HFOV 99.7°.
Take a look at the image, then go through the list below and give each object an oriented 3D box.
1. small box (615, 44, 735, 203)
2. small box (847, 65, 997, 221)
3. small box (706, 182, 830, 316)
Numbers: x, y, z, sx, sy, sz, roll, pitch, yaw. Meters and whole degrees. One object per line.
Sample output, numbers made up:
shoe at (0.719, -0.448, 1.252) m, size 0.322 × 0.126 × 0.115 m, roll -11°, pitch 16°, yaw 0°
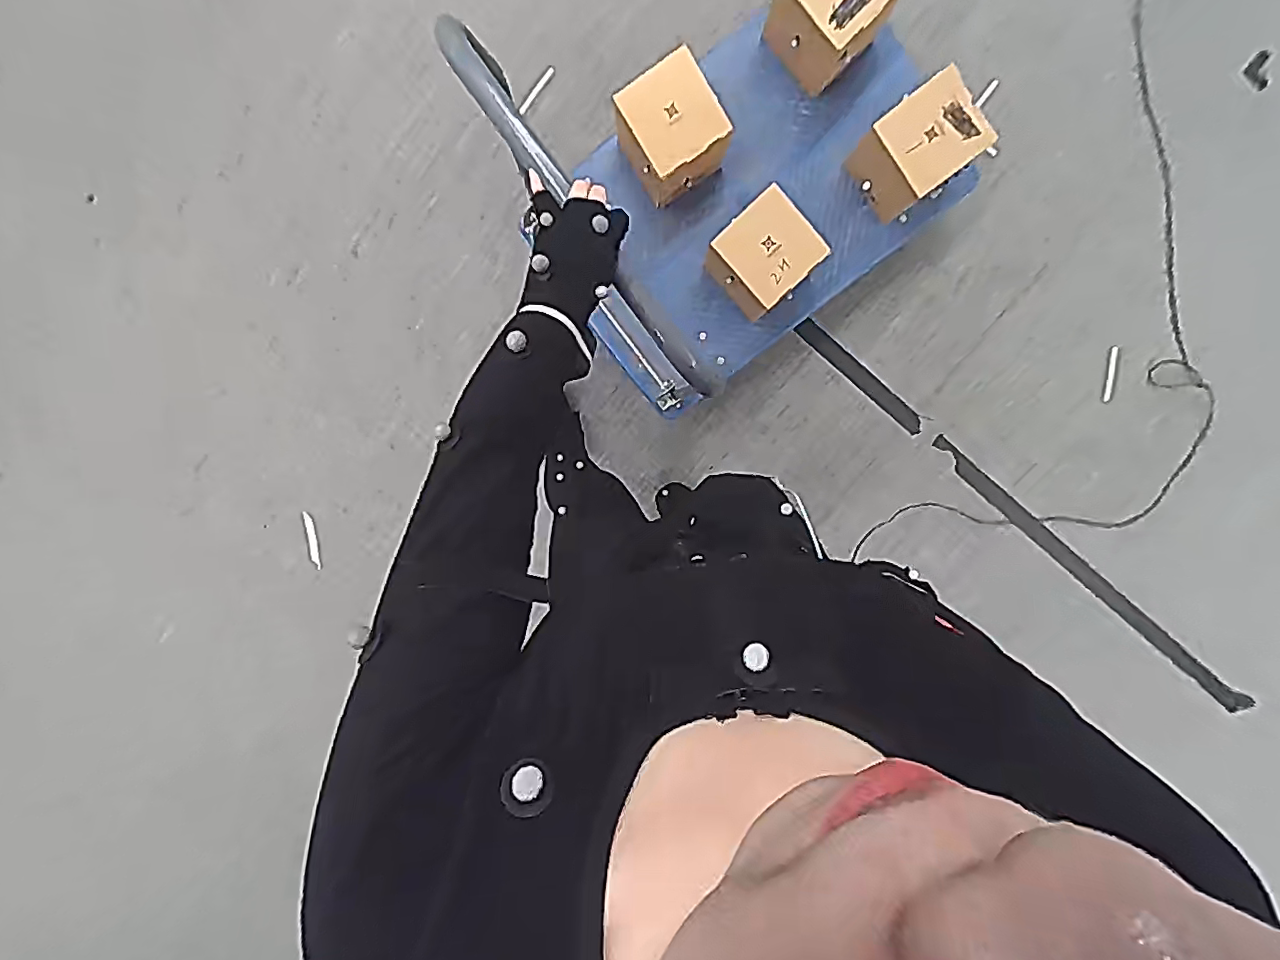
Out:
small box at (0.067, -0.704, 1.092) m, size 0.168 × 0.176 × 0.179 m, roll -33°, pitch 96°, yaw 7°
small box at (0.554, -0.663, 1.088) m, size 0.179 × 0.176 × 0.168 m, roll -36°, pitch 96°, yaw 8°
small box at (0.254, -0.466, 1.126) m, size 0.168 × 0.176 × 0.179 m, roll -41°, pitch 96°, yaw 7°
